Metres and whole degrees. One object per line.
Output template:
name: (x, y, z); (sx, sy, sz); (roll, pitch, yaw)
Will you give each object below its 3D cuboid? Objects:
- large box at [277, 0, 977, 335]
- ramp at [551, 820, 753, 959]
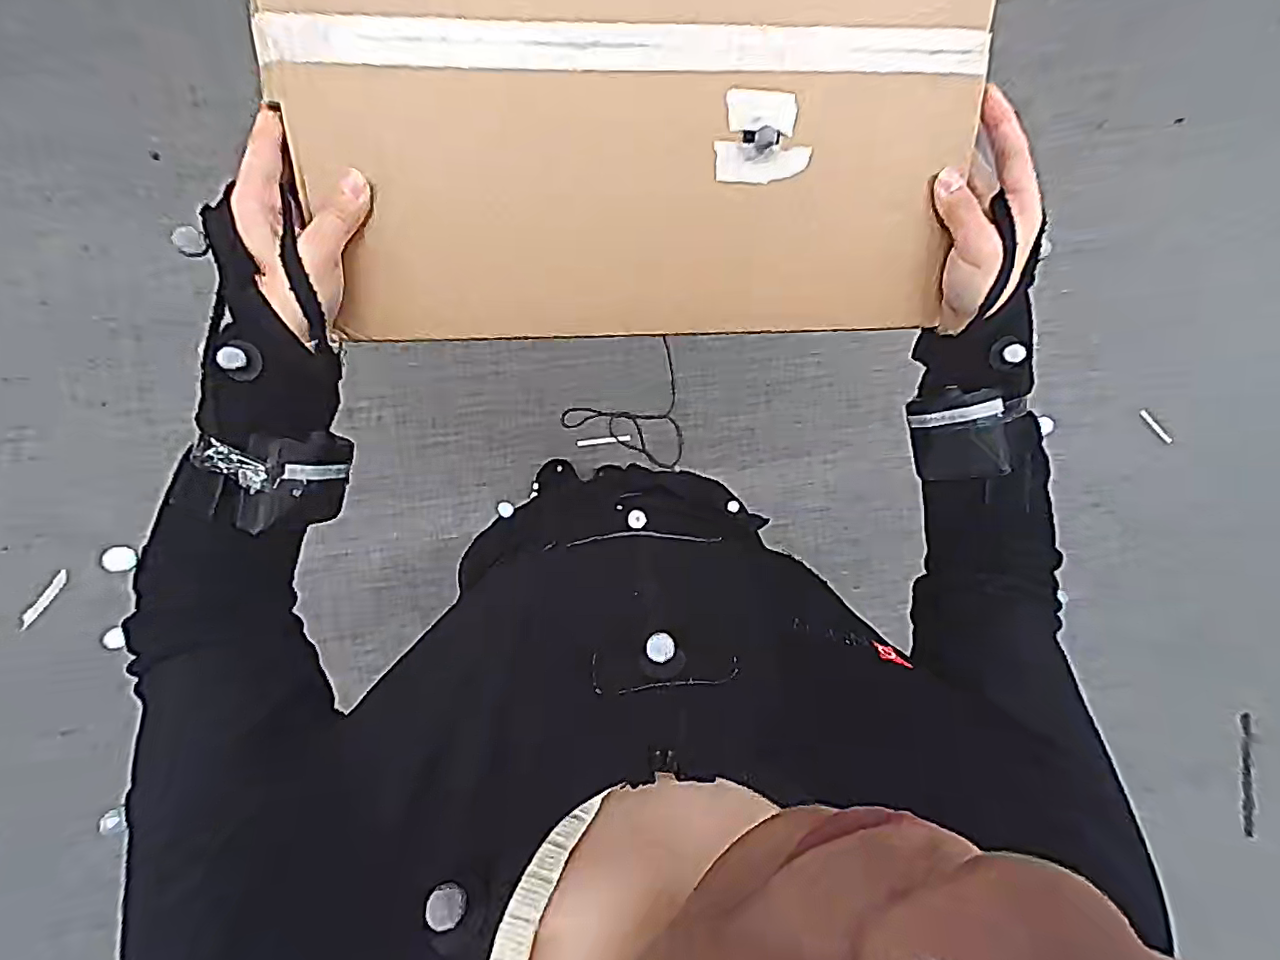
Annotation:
large box: (-0.016, -0.302, 0.450); (0.408, 0.320, 0.320); (-3, 112, -6)
ramp: (0.076, 1.431, 1.362); (0.509, 0.206, 0.991); (-9, 92, -6)
